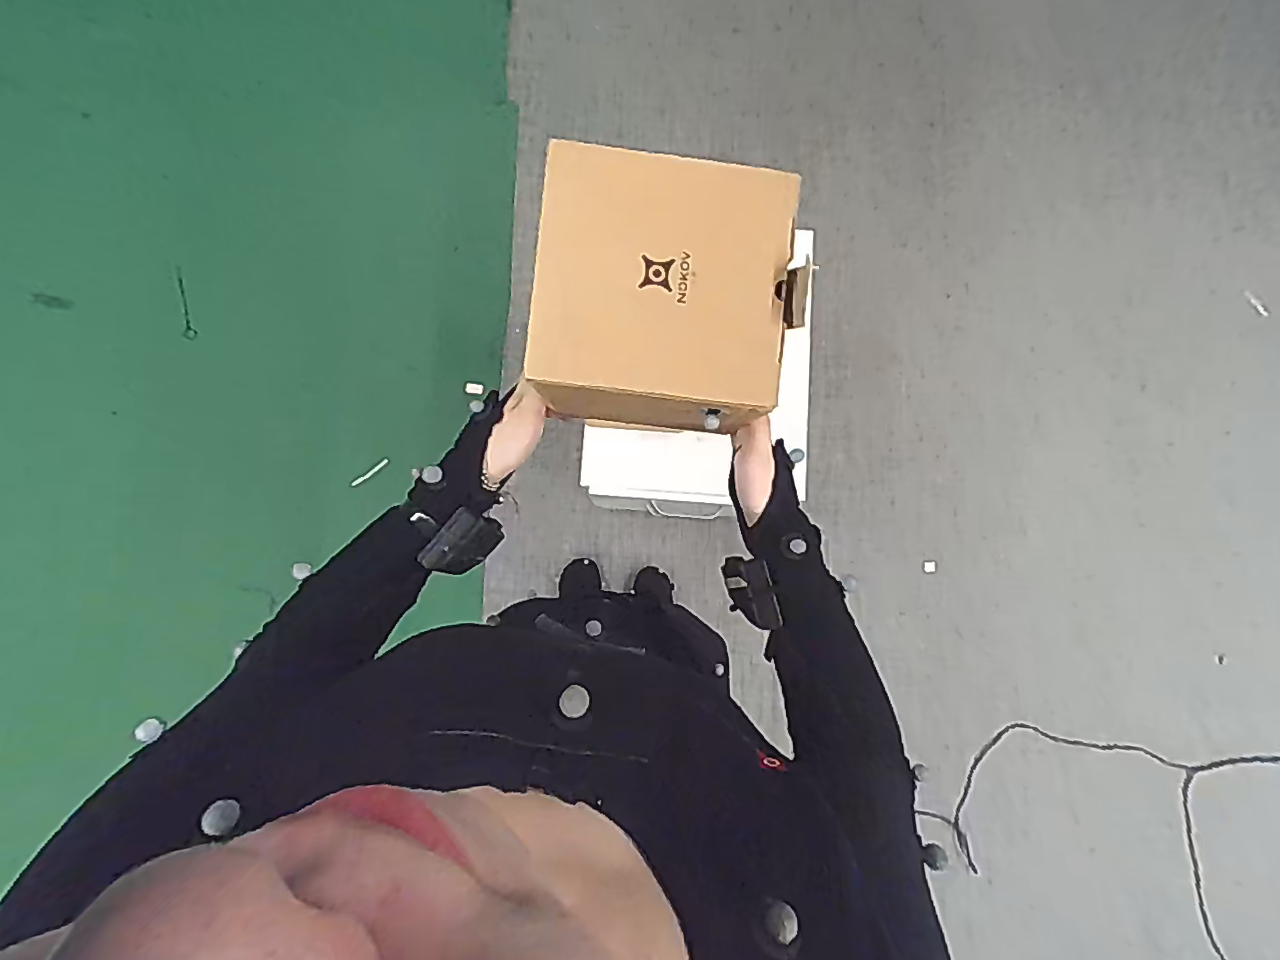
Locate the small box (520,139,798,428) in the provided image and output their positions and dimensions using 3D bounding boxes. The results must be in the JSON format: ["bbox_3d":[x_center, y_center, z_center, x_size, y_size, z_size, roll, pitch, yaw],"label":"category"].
[{"bbox_3d":[0.010,-0.138,0.445,0.179,0.176,0.168,6,89,-4],"label":"small box"}]
